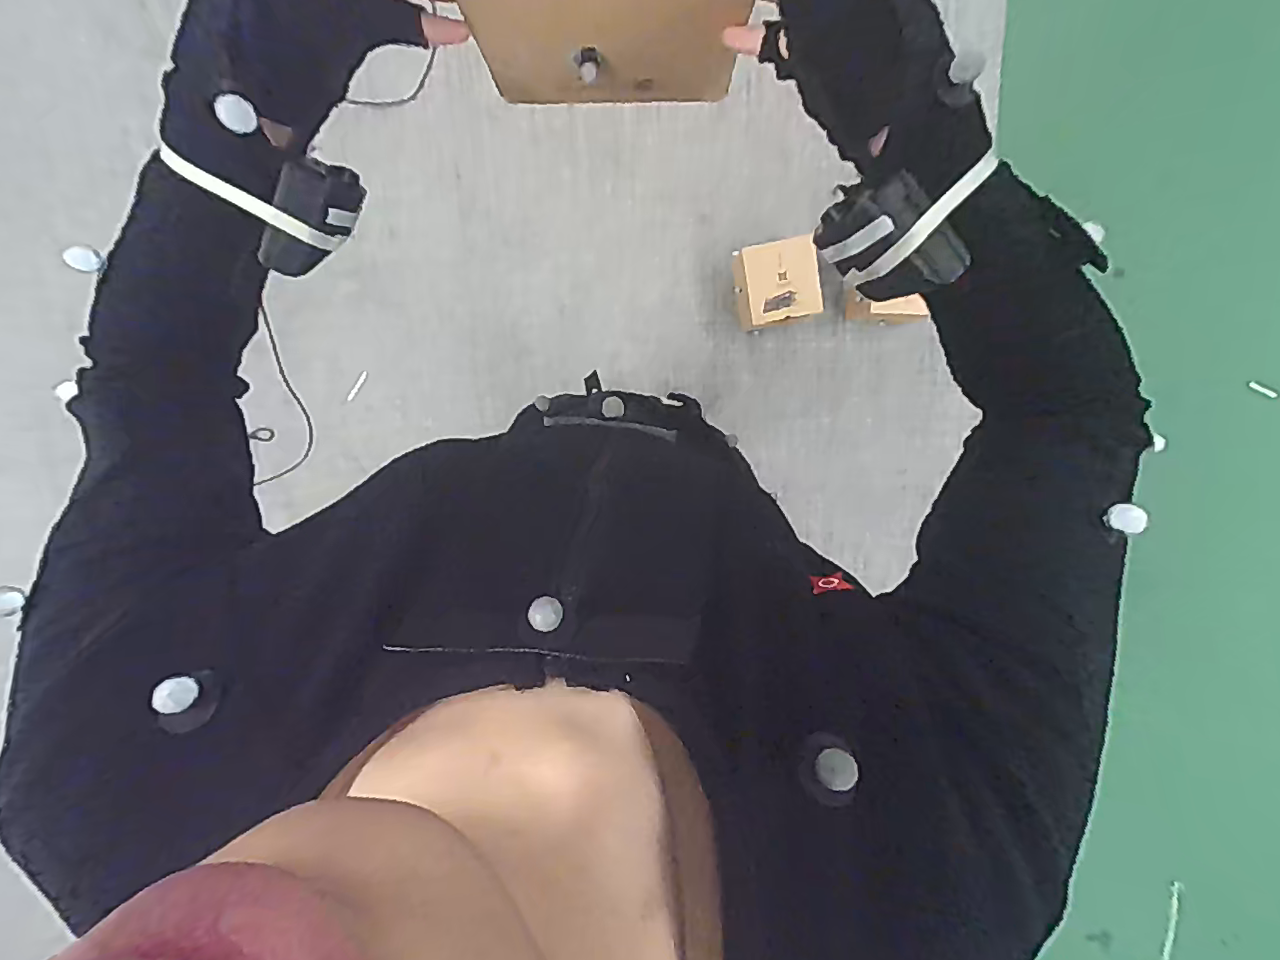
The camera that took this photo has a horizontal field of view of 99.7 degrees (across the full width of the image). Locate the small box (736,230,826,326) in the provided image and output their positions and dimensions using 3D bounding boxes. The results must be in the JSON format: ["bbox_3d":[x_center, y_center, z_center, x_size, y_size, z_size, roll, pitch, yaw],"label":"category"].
[{"bbox_3d":[0.332,-0.472,1.294,0.168,0.176,0.179,-10,99,4],"label":"small box"}]

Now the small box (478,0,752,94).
[{"bbox_3d":[-0.018,-0.355,0.300,0.168,0.176,0.179,-1,101,2],"label":"small box"}]
